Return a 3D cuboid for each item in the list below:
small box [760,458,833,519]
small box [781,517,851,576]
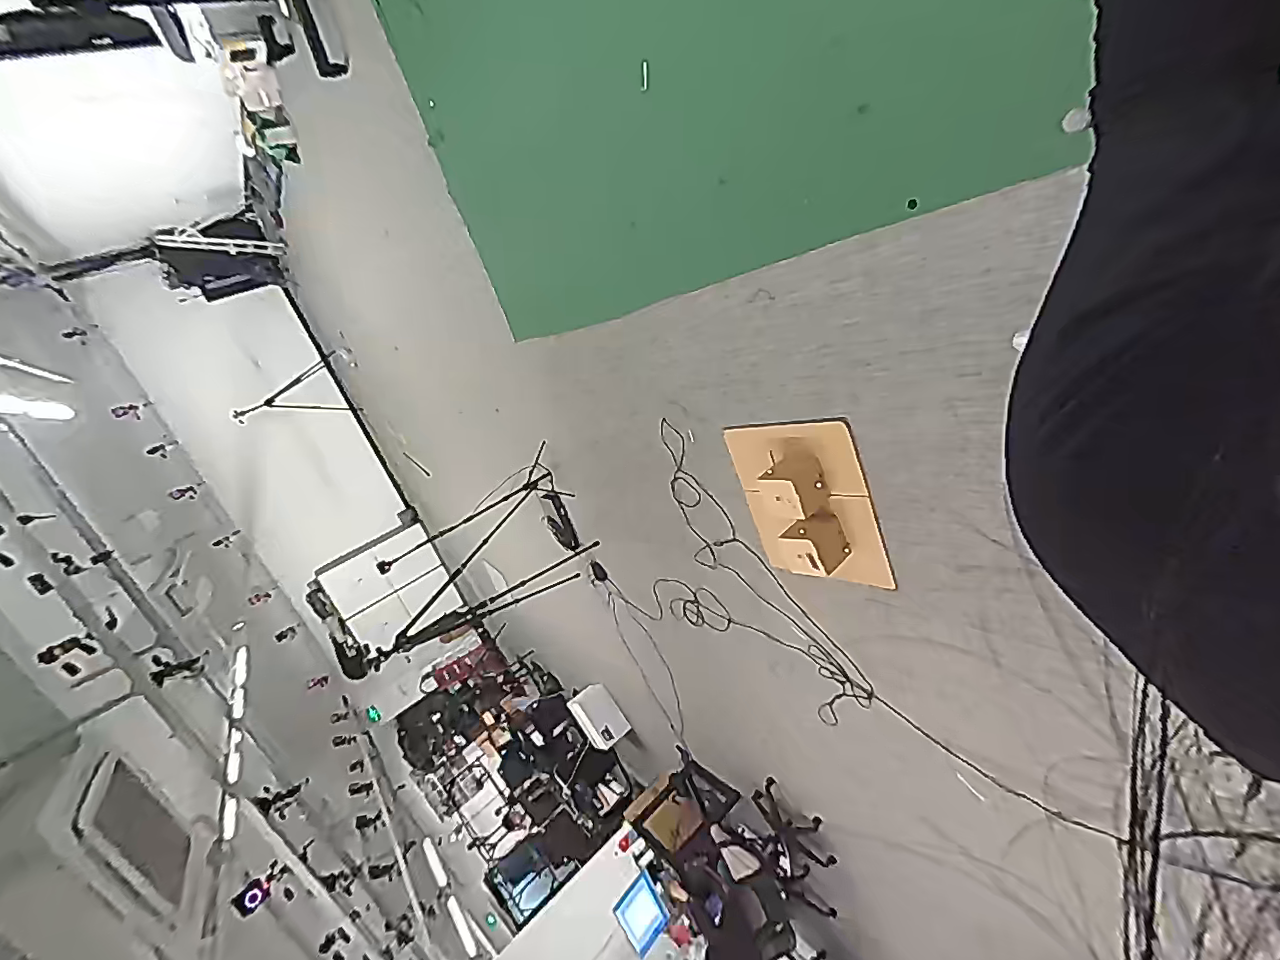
[{"bbox_3d":[0.588,0.028,2.027,0.179,0.176,0.168,2,121,56],"label":"small box"},{"bbox_3d":[0.687,0.252,2.087,0.179,0.176,0.168,-5,114,59],"label":"small box"}]
